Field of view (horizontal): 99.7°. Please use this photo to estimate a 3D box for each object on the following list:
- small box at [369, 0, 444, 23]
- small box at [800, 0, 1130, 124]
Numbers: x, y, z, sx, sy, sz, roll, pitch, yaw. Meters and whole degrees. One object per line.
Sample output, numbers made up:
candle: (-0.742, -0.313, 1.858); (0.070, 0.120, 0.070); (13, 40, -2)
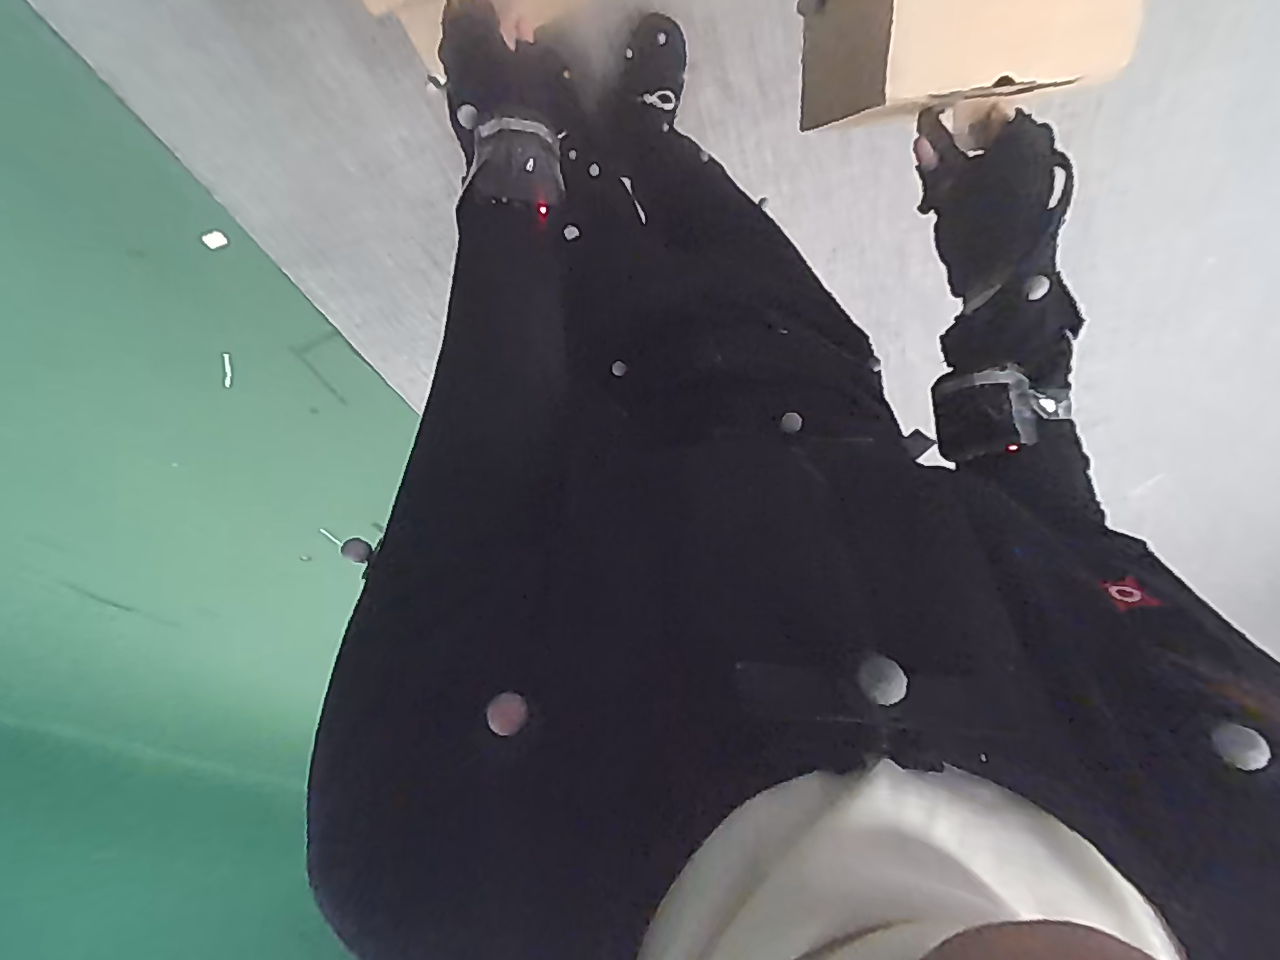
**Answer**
small box: (-0.161, -0.494, 0.410); (0.168, 0.176, 0.179); (-17, 132, 11)
small box: (0.229, -0.378, 0.402); (0.168, 0.176, 0.179); (-7, 118, -2)
